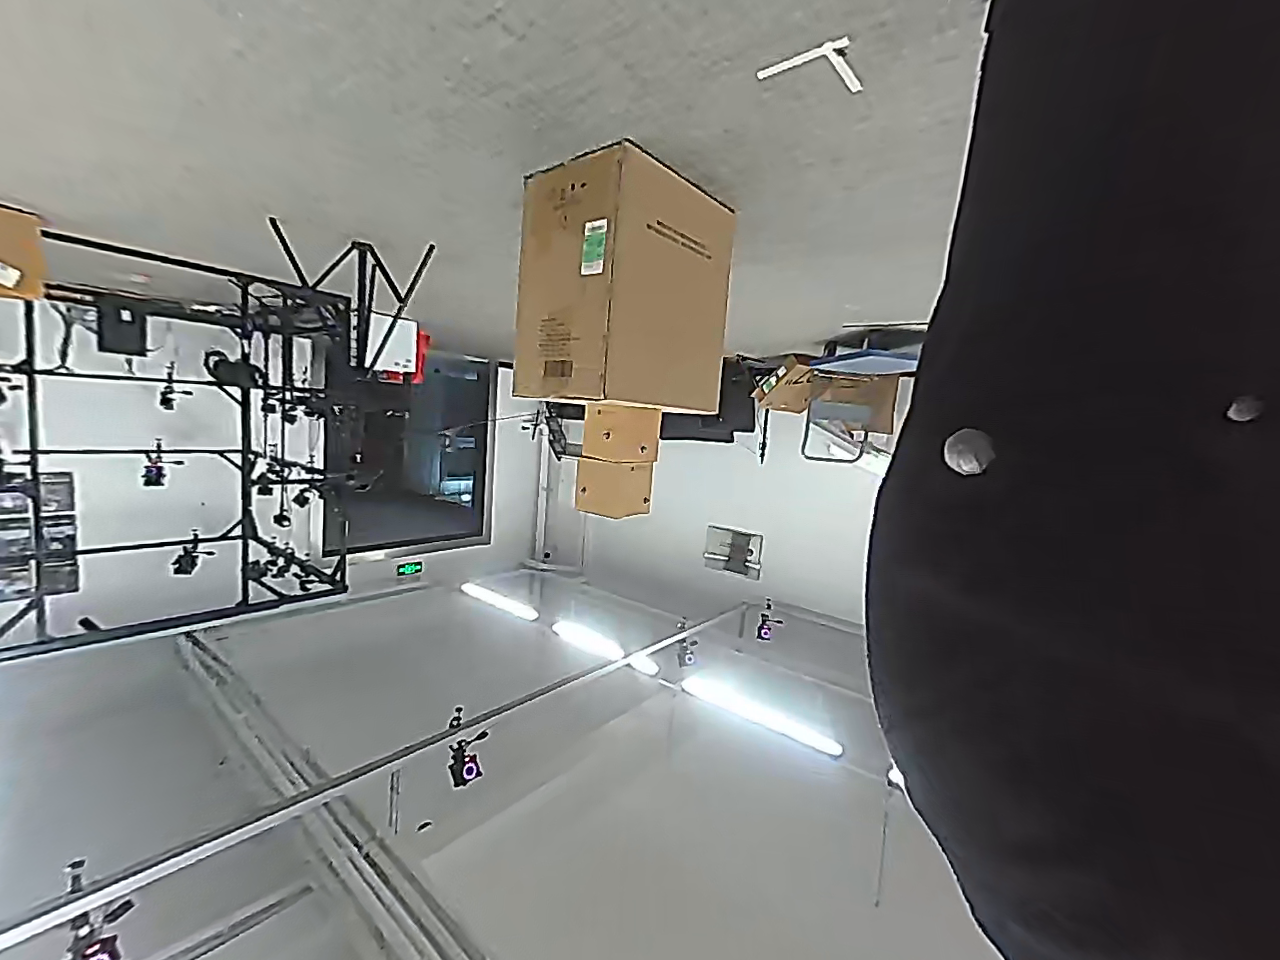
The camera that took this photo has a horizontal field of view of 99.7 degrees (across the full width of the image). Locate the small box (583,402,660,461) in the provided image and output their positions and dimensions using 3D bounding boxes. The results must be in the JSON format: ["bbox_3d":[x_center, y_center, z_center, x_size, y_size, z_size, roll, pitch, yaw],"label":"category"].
[{"bbox_3d":[-0.056,-0.150,1.657,0.168,0.176,0.179,9,-171,40],"label":"small box"}]
